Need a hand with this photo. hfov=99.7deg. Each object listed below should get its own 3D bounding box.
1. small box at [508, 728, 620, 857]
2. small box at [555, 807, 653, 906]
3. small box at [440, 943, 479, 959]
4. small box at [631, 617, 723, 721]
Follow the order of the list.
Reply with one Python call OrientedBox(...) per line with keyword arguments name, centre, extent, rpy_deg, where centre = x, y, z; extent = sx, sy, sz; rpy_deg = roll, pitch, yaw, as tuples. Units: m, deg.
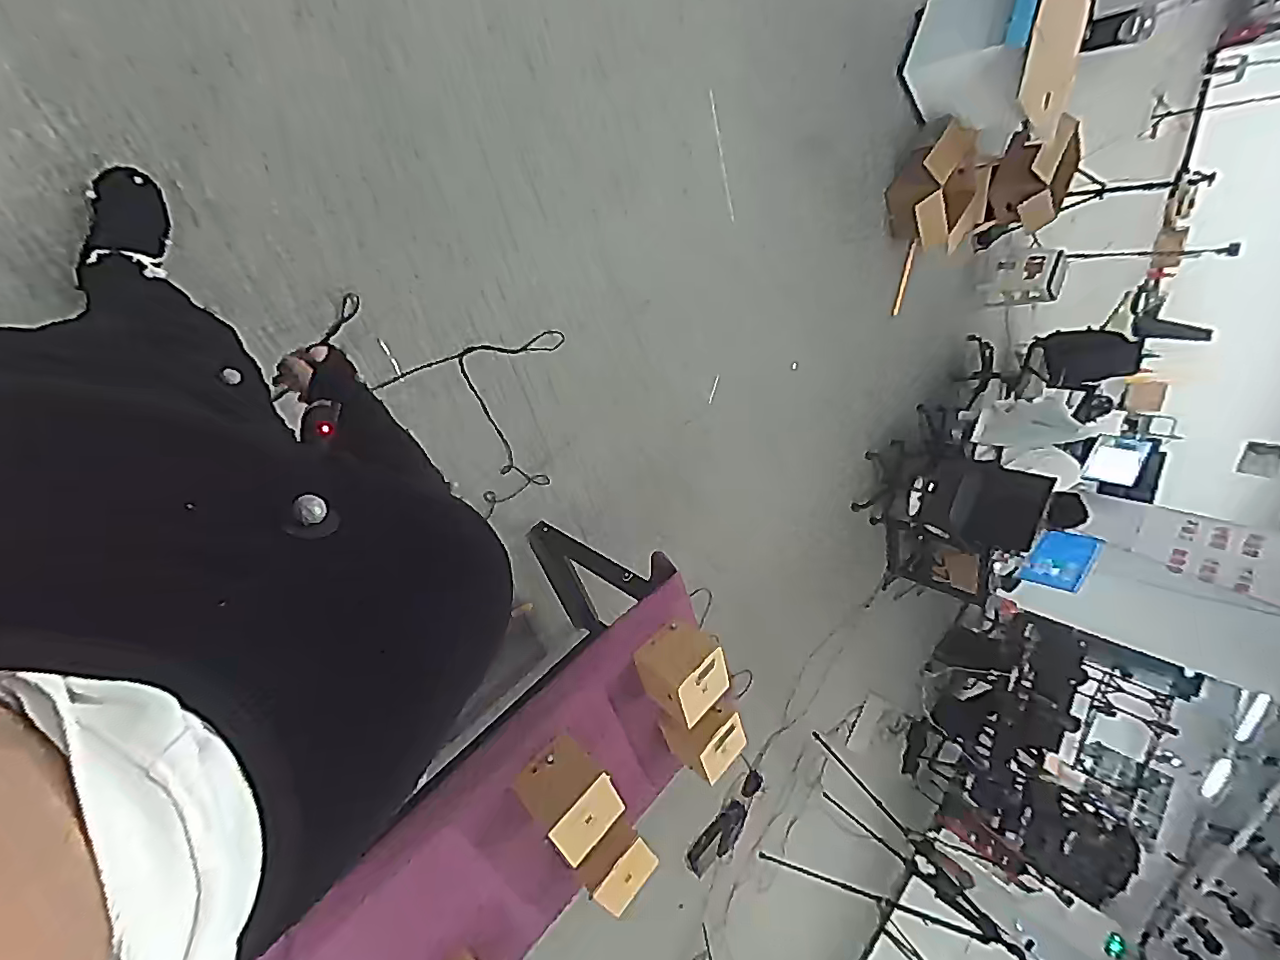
OrientedBox(name="small box", centre=(-0.178, 0.725, 1.273), extent=(0.168, 0.176, 0.179), rpy_deg=(-38, 129, -29))
OrientedBox(name="small box", centre=(-0.098, 0.974, 1.444), extent=(0.168, 0.176, 0.179), rpy_deg=(-42, 129, -24))
OrientedBox(name="small box", centre=(-0.413, 1.219, 1.230), extent=(0.168, 0.176, 0.179), rpy_deg=(-34, 125, -32))
OrientedBox(name="small box", centre=(0.098, 0.494, 1.447), extent=(0.168, 0.176, 0.179), rpy_deg=(-36, 129, -29))
